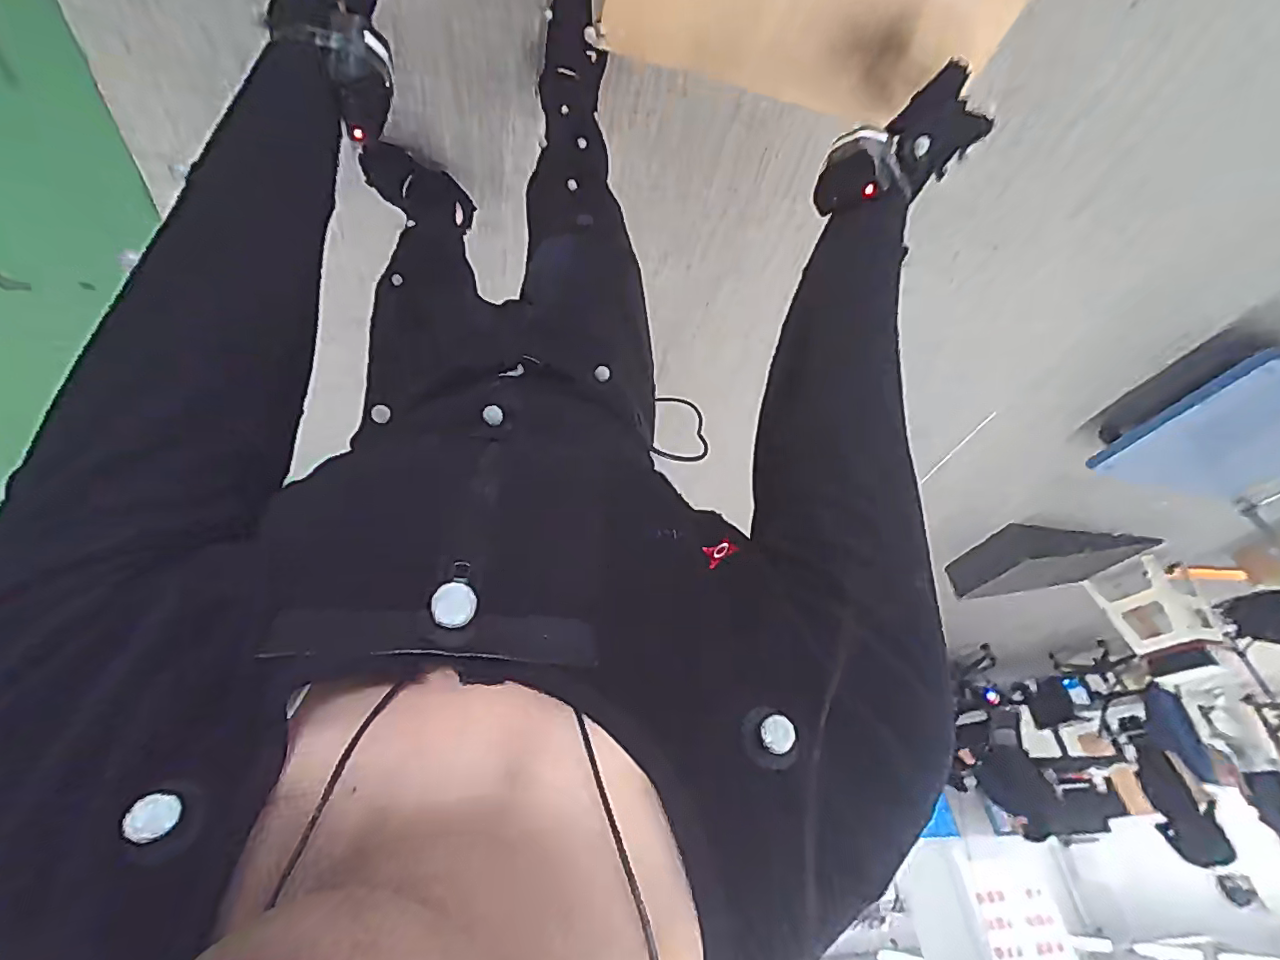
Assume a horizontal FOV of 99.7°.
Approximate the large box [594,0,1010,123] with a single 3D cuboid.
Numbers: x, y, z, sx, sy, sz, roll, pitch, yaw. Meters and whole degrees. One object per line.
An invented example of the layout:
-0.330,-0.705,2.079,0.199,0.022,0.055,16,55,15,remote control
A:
0.180,-0.638,0.538,0.408,0.320,0.320,7,148,-12,large box
